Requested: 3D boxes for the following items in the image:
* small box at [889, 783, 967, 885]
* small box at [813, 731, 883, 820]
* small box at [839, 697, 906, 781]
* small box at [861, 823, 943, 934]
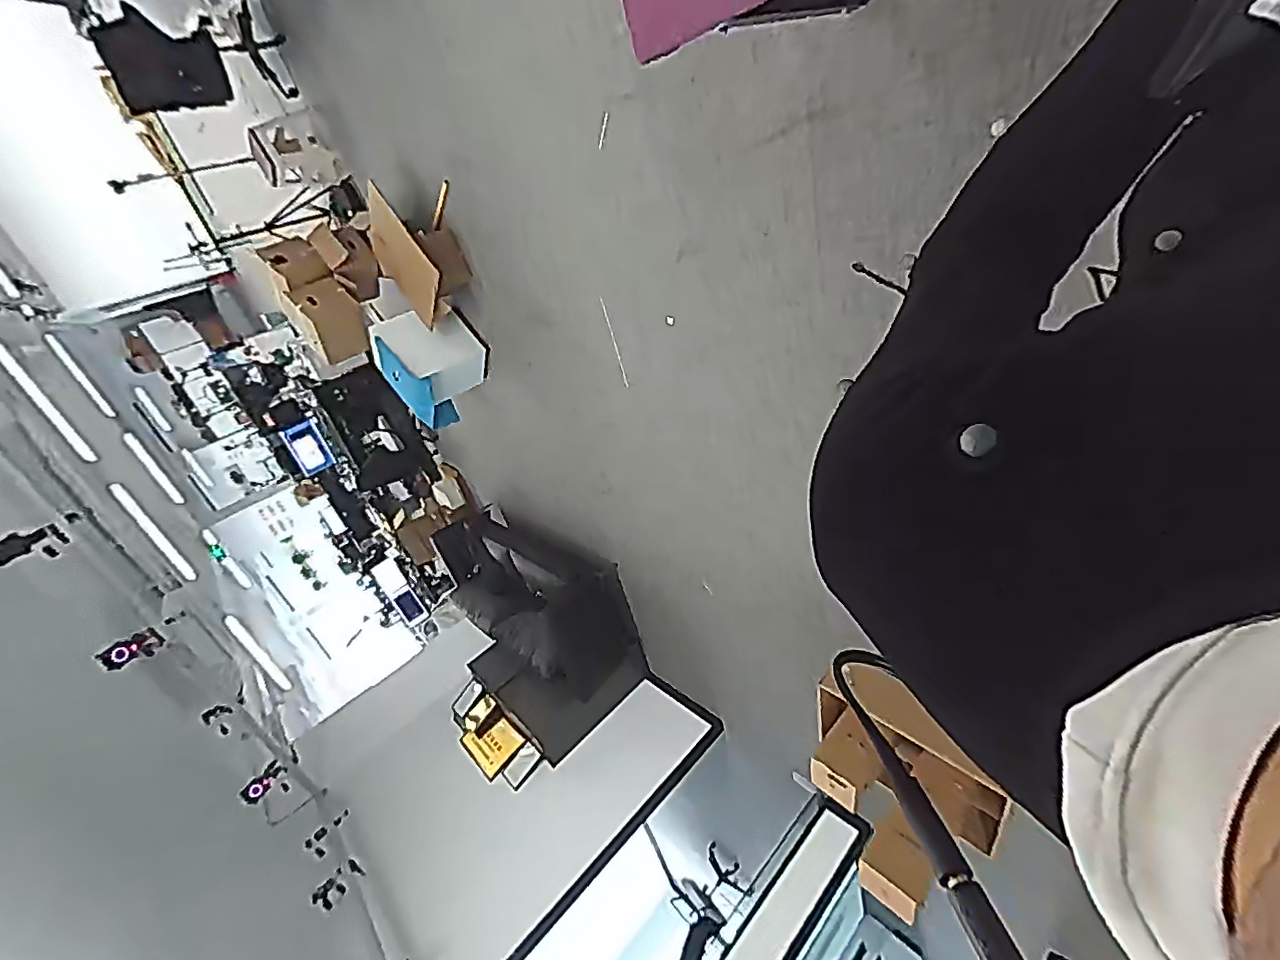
[{"bbox_3d":[0.894,1.096,1.682,0.168,0.176,0.179,22,136,43],"label":"small box"},{"bbox_3d":[0.713,1.006,1.855,0.168,0.176,0.179,24,138,42],"label":"small box"},{"bbox_3d":[0.831,0.925,1.937,0.168,0.176,0.179,23,136,43],"label":"small box"},{"bbox_3d":[0.776,1.176,1.603,0.168,0.176,0.179,22,137,43],"label":"small box"}]
